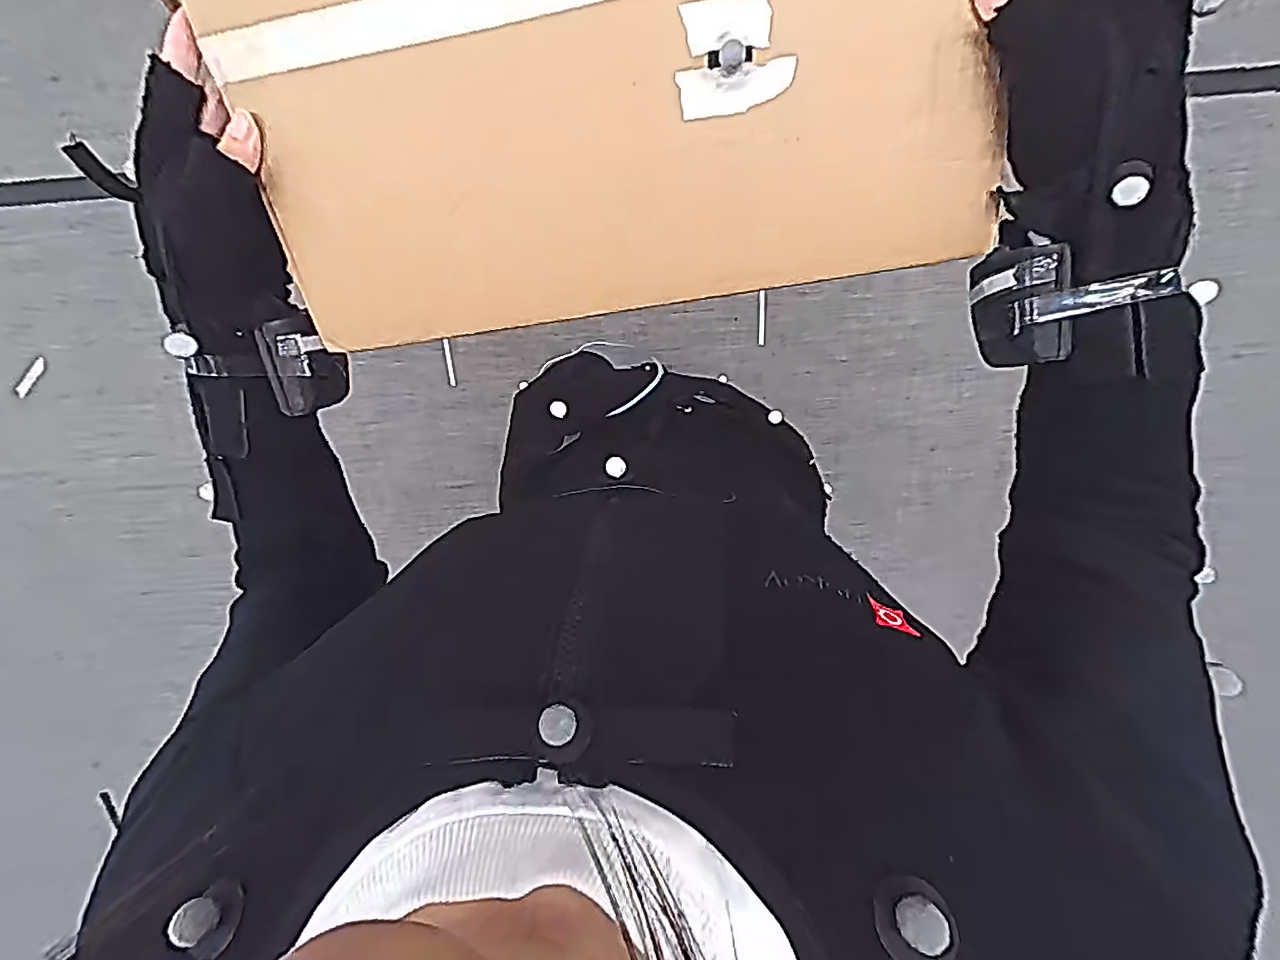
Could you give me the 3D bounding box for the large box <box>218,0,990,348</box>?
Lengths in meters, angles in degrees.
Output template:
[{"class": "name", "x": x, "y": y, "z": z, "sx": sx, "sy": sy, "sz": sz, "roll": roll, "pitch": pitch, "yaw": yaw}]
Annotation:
[{"class": "large box", "x": -0.019, "y": -0.314, "z": 0.413, "sx": 0.408, "sy": 0.320, "sz": 0.320, "roll": -8, "pitch": 115, "yaw": 6}]
